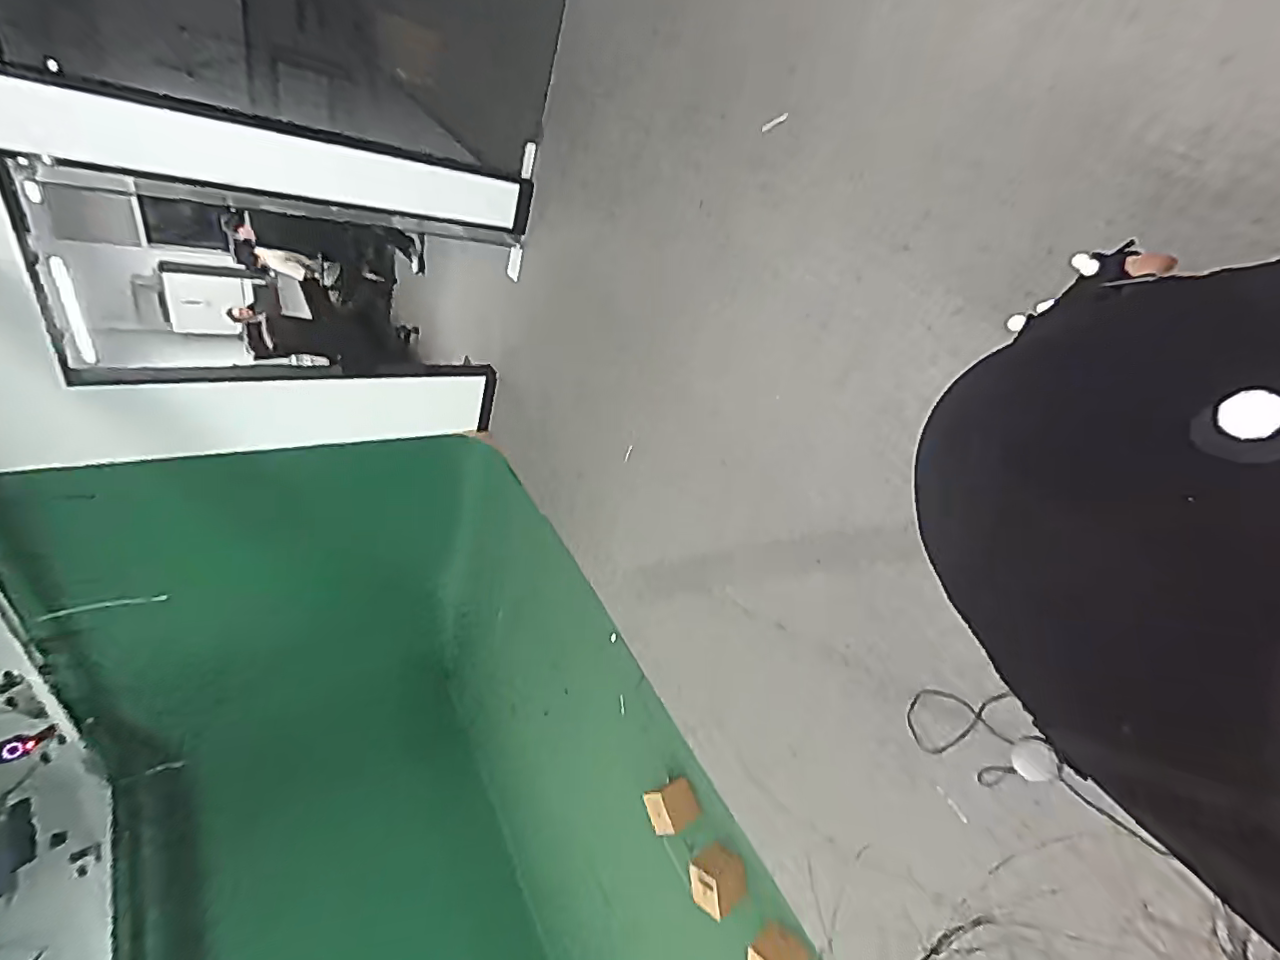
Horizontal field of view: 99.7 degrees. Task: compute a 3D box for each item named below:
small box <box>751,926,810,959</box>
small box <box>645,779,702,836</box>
[{"bbox_3d":[0.550,1.912,2.104,0.168,0.176,0.179,9,104,52],"label":"small box"},{"bbox_3d":[0.159,1.532,2.528,0.168,0.176,0.179,-45,61,46],"label":"small box"}]
